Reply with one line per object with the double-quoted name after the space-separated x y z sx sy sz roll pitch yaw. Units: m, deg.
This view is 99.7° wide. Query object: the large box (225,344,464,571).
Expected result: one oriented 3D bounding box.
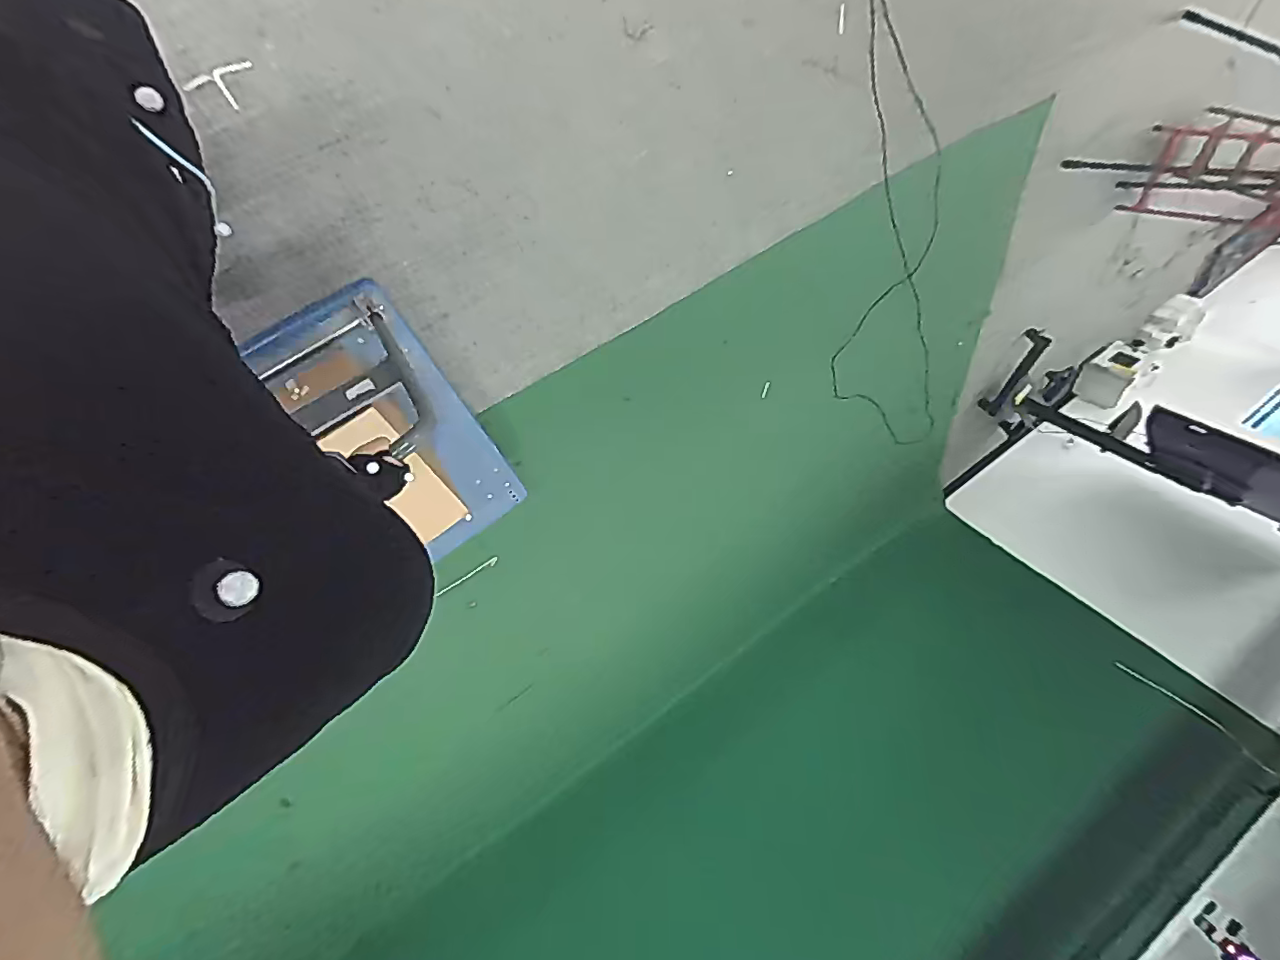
-0.719 -0.052 1.343 0.320 0.320 0.408 -35 140 -9 "large box"
